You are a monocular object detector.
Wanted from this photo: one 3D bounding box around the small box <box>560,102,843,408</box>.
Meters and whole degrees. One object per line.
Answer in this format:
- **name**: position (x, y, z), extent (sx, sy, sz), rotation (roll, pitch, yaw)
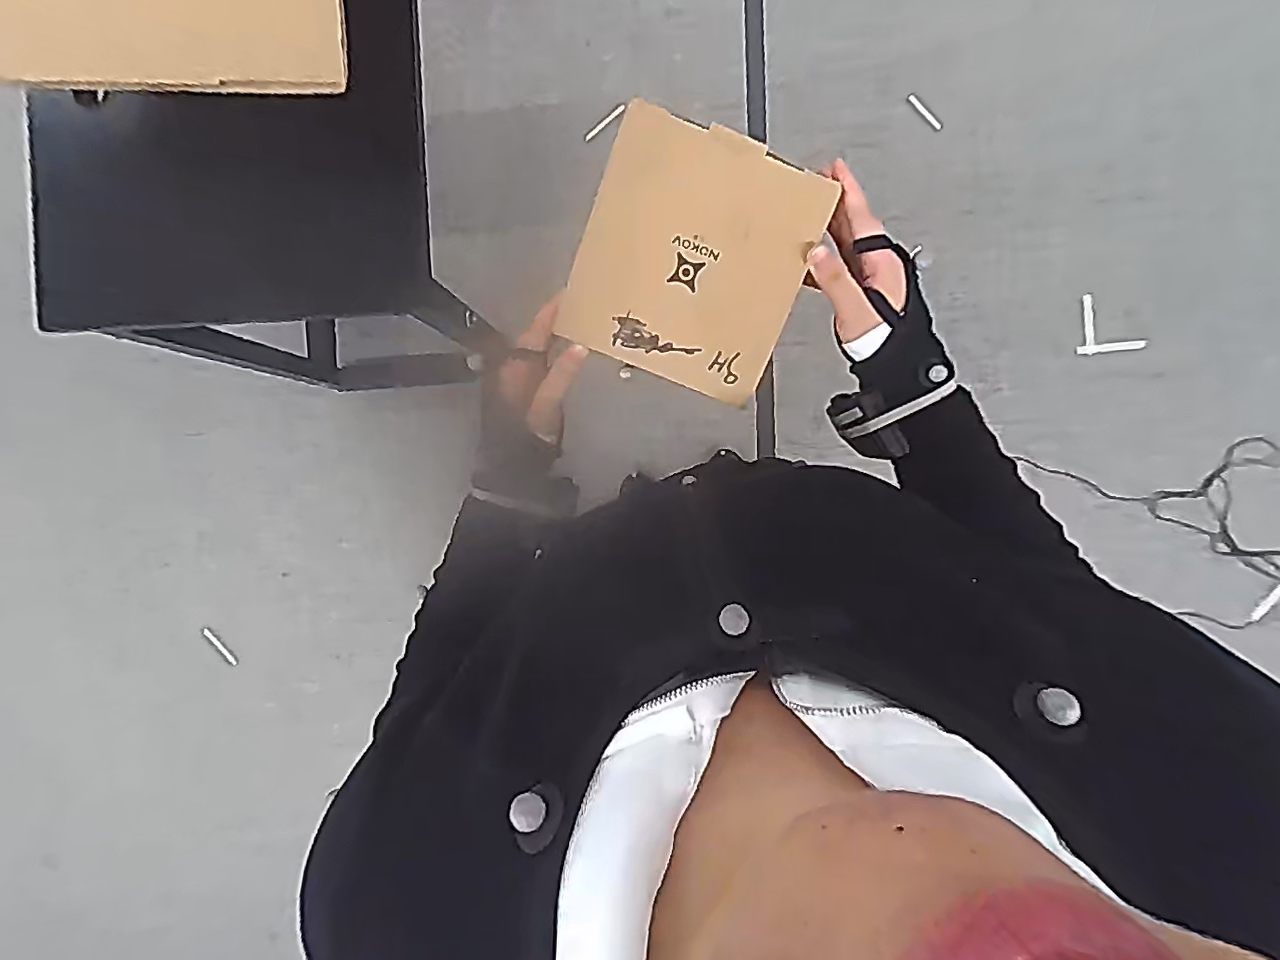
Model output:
- **small box**: position (0.047, -0.180, 0.484), extent (0.168, 0.176, 0.179), rotation (22, 103, 0)
